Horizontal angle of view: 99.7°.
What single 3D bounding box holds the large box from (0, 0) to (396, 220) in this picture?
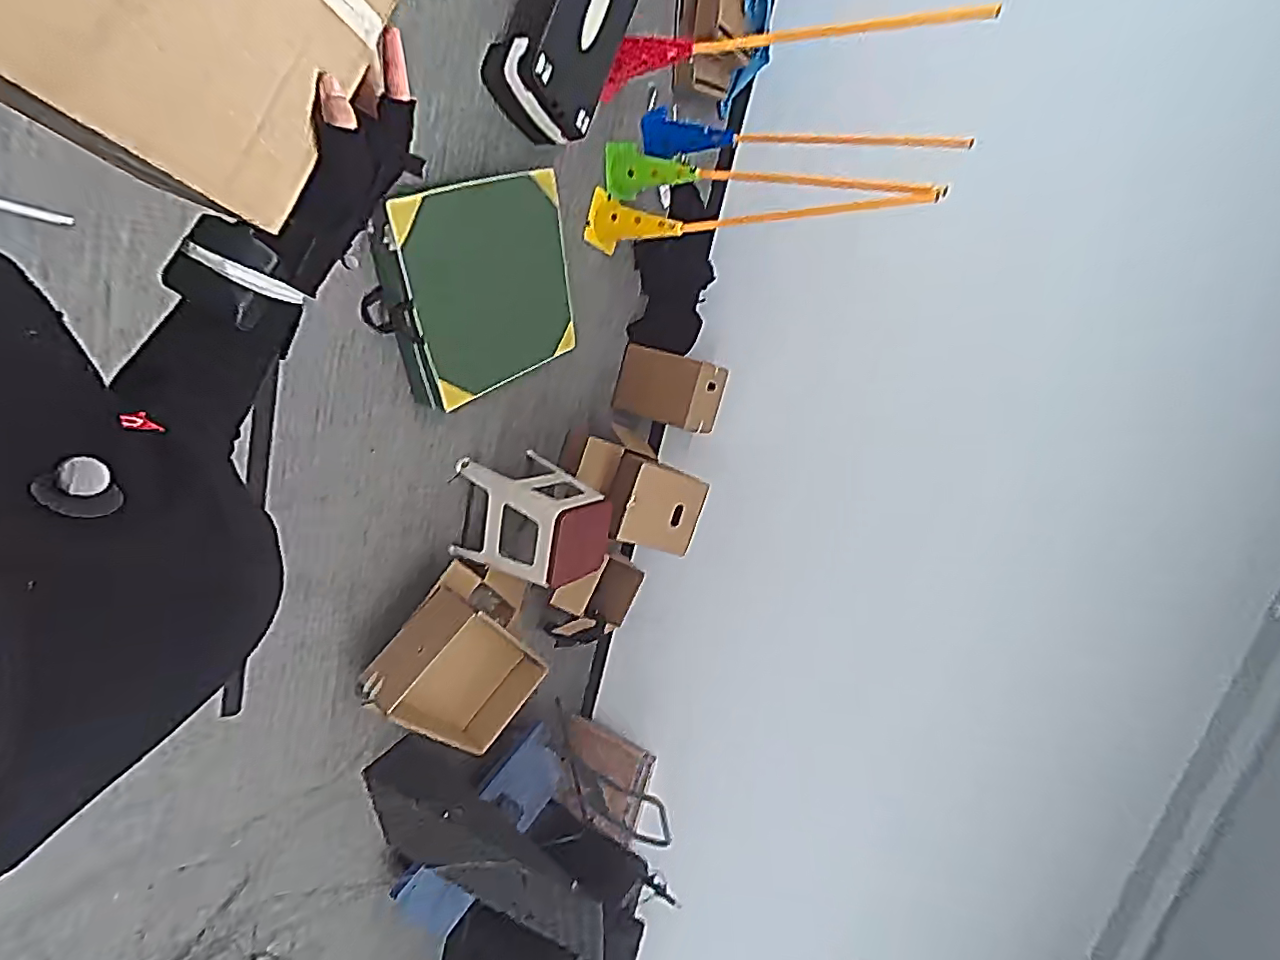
[{"bbox_3d":[-0.402,-0.425,0.308,0.408,0.320,0.320,26,92,-57],"label":"large box"}]
